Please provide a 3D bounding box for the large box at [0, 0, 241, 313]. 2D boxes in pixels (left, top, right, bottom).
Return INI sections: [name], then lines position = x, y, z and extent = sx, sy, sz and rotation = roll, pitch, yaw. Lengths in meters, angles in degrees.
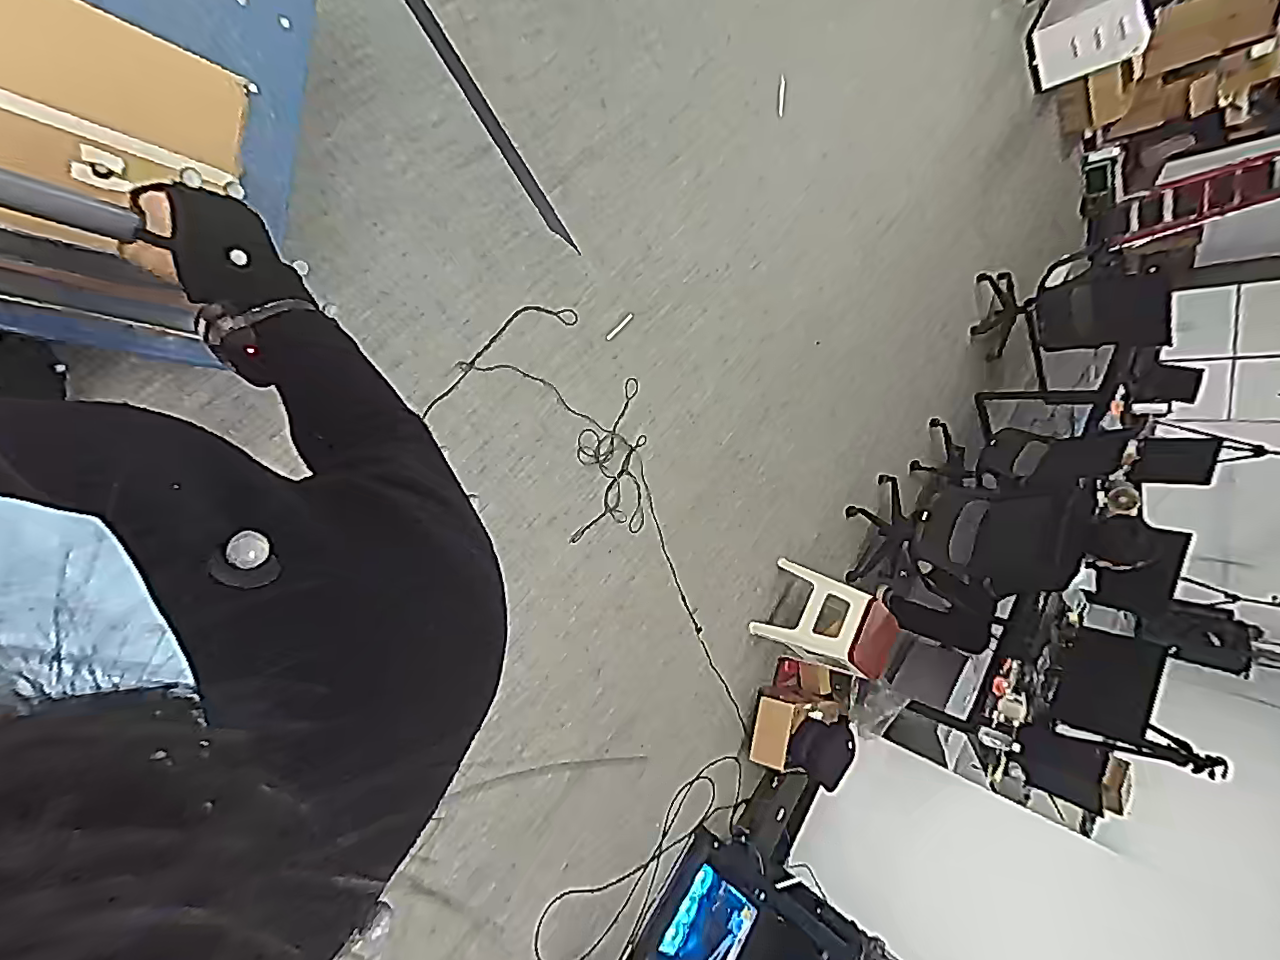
[large box]
position = -0.856, -0.466, 0.779
extent = 0.408, 0.320, 0.320
rotation = 8, 91, -42
